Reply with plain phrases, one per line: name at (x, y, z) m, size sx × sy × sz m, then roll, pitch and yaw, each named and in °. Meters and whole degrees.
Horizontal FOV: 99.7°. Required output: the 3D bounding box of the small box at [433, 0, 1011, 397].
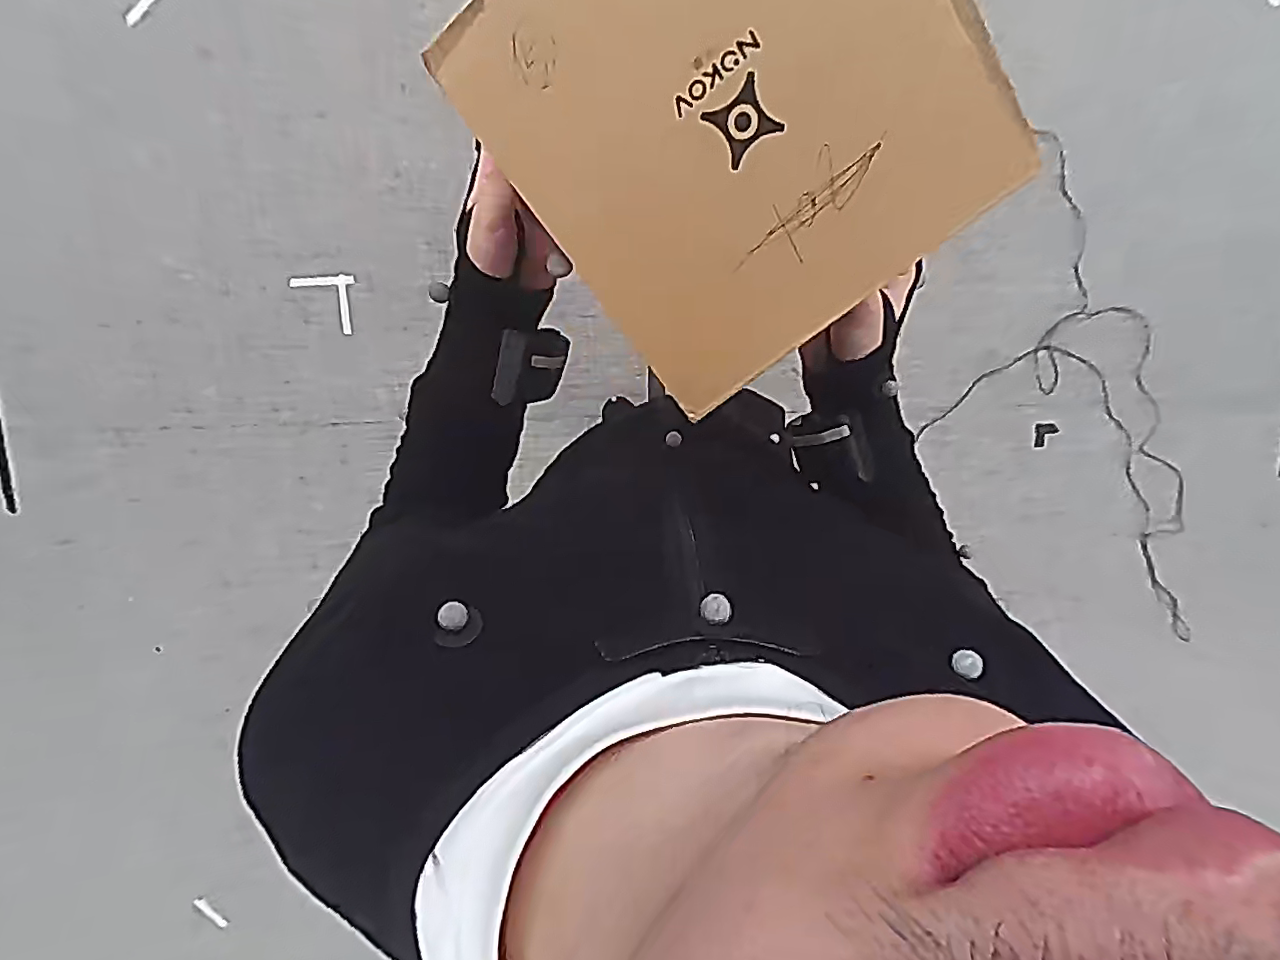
small box at (0.035, -0.174, 0.287) m, size 0.168 × 0.176 × 0.179 m, roll -36°, pitch 107°, yaw 15°
